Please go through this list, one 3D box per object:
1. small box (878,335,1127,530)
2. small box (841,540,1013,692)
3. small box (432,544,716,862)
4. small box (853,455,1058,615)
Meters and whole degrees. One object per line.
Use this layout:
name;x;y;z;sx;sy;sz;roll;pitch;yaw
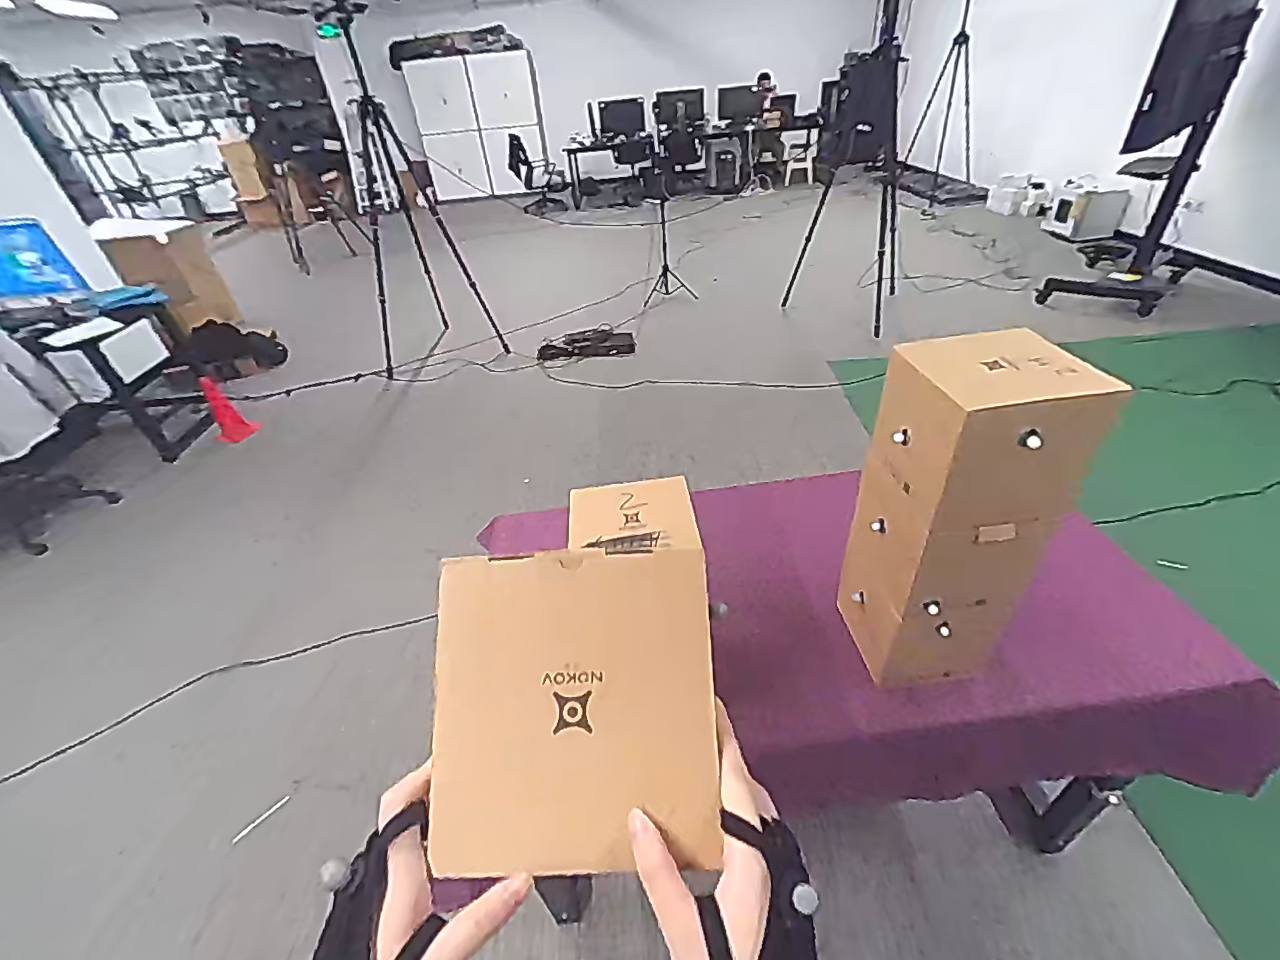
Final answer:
small box;0.407;-0.056;0.652;0.179;0.176;0.168;-7;38;-1
small box;0.433;0.203;0.854;0.168;0.176;0.179;-8;36;0
small box;-0.035;0.145;0.398;0.168;0.176;0.179;-3;76;2
small box;0.419;0.072;0.756;0.168;0.176;0.179;-7;37;-1
